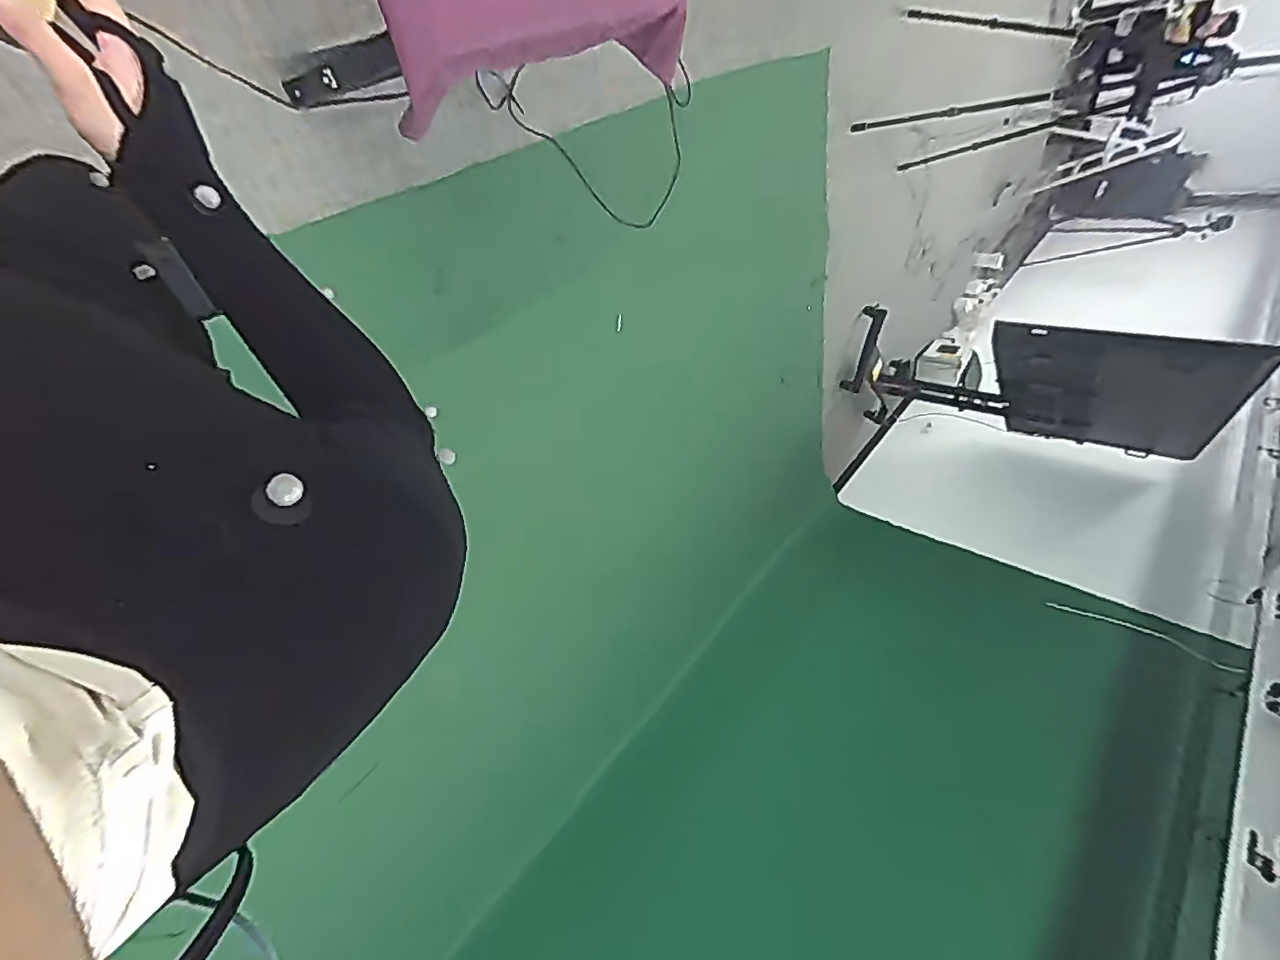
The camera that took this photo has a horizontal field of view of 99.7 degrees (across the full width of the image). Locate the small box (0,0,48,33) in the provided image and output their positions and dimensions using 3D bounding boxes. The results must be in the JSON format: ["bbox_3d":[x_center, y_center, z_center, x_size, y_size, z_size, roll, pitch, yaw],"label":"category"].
[{"bbox_3d":[-0.473,-0.415,0.322,0.168,0.176,0.179,1,109,-52],"label":"small box"}]
